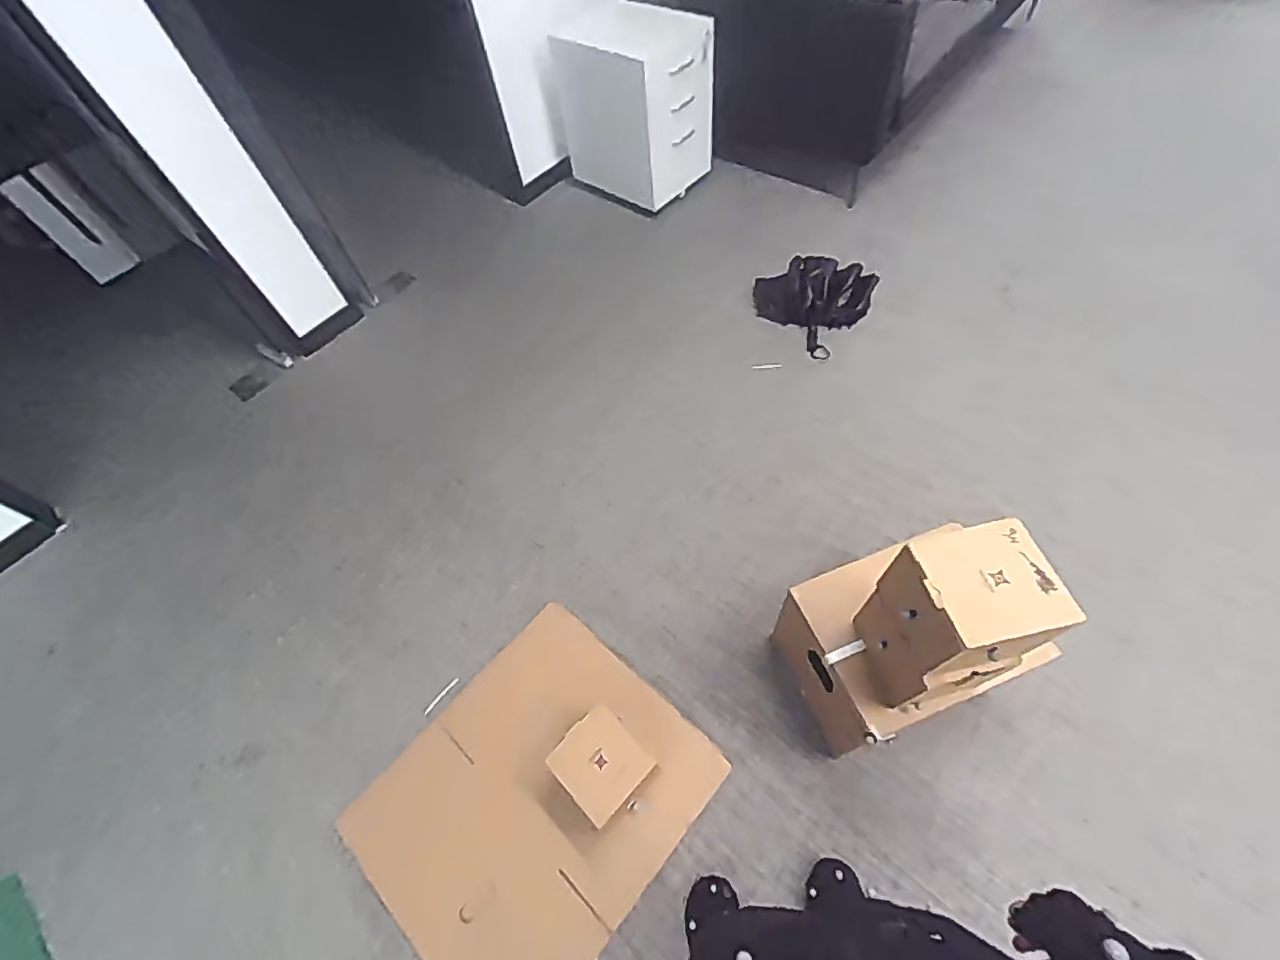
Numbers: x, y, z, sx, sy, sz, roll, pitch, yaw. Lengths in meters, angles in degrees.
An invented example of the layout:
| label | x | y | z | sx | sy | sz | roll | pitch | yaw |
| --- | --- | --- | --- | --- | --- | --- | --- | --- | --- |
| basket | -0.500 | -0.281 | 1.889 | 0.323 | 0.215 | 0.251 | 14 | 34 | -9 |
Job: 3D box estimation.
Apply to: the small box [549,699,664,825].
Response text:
| label | x | y | z | sx | sy | sz | roll | pitch | yaw |
| --- | --- | --- | --- | --- | --- | --- | --- | --- | --- |
| small box | -0.065 | 0.612 | 1.166 | 0.179 | 0.176 | 0.168 | 37 | 69 | 25 |

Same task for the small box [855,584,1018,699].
| label | x | y | z | sx | sy | sz | roll | pitch | yaw |
| --- | --- | --- | --- | --- | --- | --- | --- | --- | --- |
| small box | 0.510 | 0.277 | 0.963 | 0.168 | 0.176 | 0.179 | -14 | 57 | -3 |

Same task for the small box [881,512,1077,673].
| label | x | y | z | sx | sy | sz | roll | pitch | yaw |
| --- | --- | --- | --- | --- | --- | --- | --- | --- | --- |
| small box | 0.498 | 0.179 | 0.835 | 0.179 | 0.176 | 0.168 | -15 | 55 | -4 |
